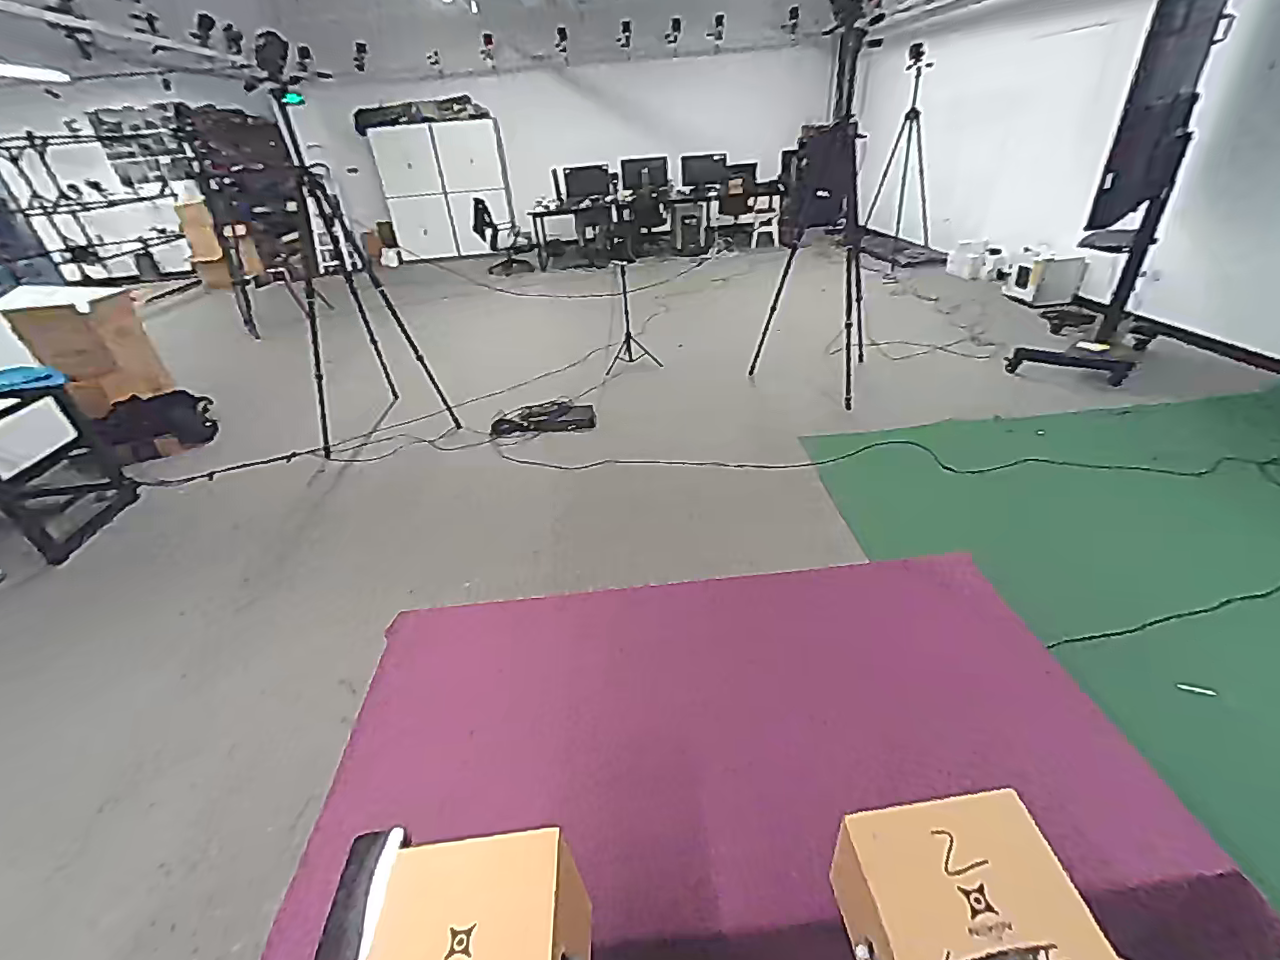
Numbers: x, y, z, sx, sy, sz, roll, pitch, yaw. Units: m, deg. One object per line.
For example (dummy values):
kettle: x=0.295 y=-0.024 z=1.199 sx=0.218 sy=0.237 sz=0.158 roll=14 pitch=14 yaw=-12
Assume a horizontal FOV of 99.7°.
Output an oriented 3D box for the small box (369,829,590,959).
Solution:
small box: x=-0.142 y=0.468 z=0.506 sx=0.168 sy=0.176 sz=0.179 roll=-8 pitch=32 yaw=1
